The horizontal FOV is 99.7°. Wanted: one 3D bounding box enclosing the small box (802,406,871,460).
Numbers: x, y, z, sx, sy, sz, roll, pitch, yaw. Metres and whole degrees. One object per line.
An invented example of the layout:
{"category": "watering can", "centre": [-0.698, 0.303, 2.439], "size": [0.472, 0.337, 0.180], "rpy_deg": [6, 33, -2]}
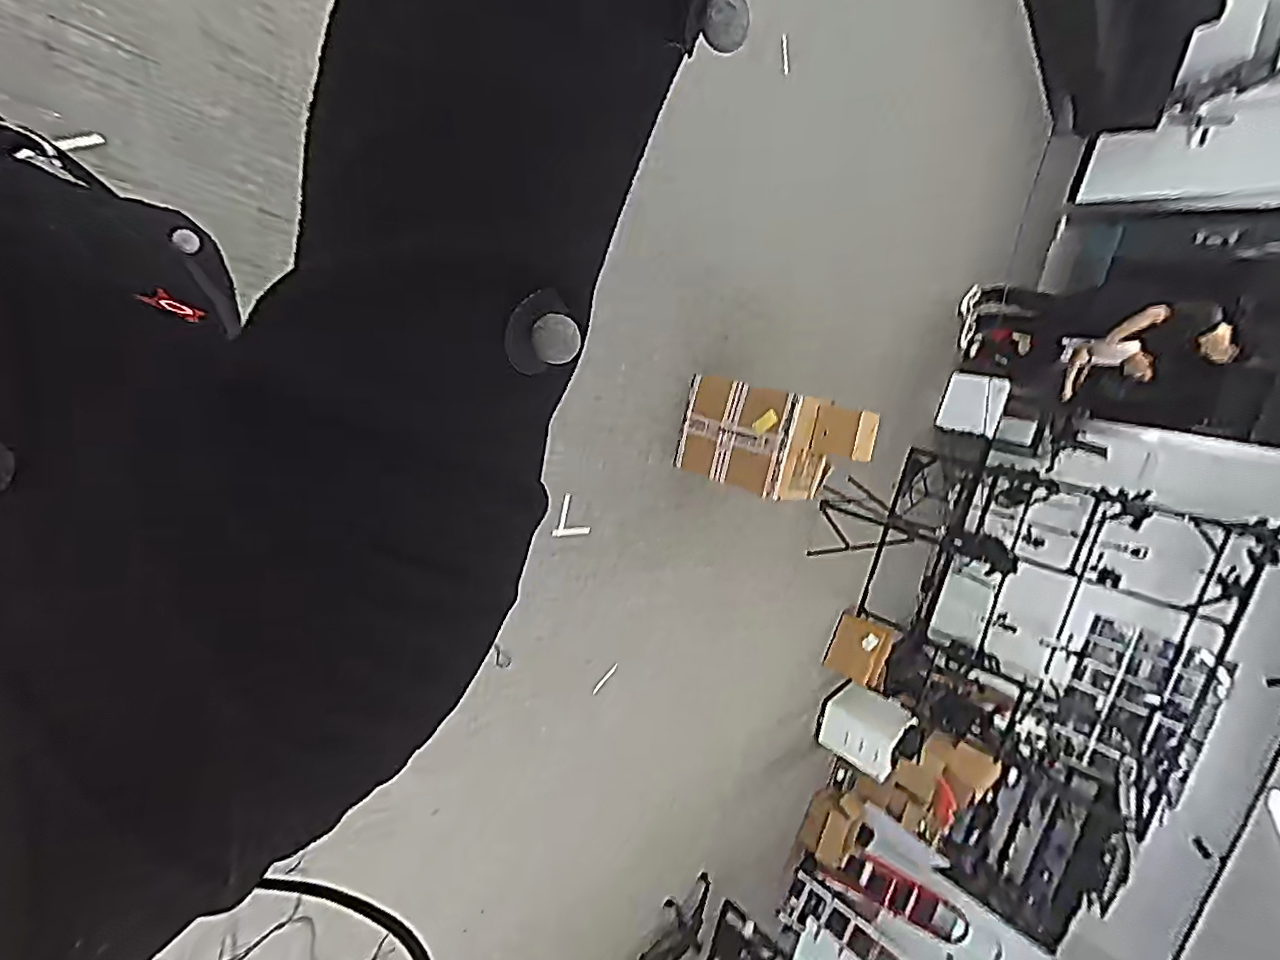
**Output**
{"category": "small box", "centre": [0.734, -0.173, 2.017], "size": [0.168, 0.176, 0.179], "rpy_deg": [1, 103, -46]}
